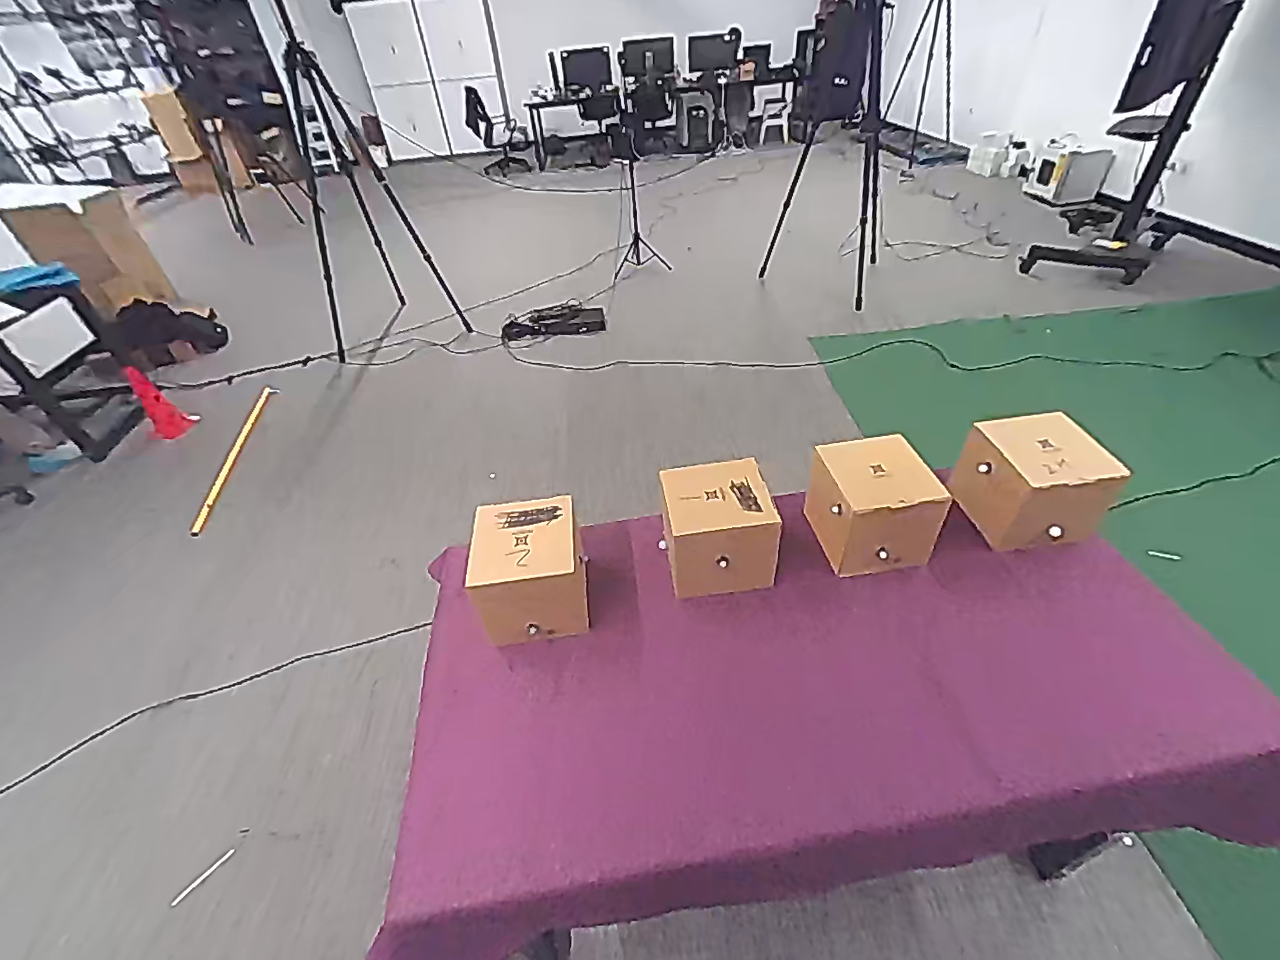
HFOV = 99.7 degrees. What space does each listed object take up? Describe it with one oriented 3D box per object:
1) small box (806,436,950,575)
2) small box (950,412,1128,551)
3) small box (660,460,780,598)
[{"bbox_3d":[0.414,0.045,0.977,0.168,0.176,0.179,-9,42,-2],"label":"small box"},{"bbox_3d":[0.700,0.003,0.978,0.168,0.176,0.179,-8,43,0],"label":"small box"},{"bbox_3d":[0.135,0.089,0.962,0.179,0.176,0.168,-8,41,-1],"label":"small box"}]
